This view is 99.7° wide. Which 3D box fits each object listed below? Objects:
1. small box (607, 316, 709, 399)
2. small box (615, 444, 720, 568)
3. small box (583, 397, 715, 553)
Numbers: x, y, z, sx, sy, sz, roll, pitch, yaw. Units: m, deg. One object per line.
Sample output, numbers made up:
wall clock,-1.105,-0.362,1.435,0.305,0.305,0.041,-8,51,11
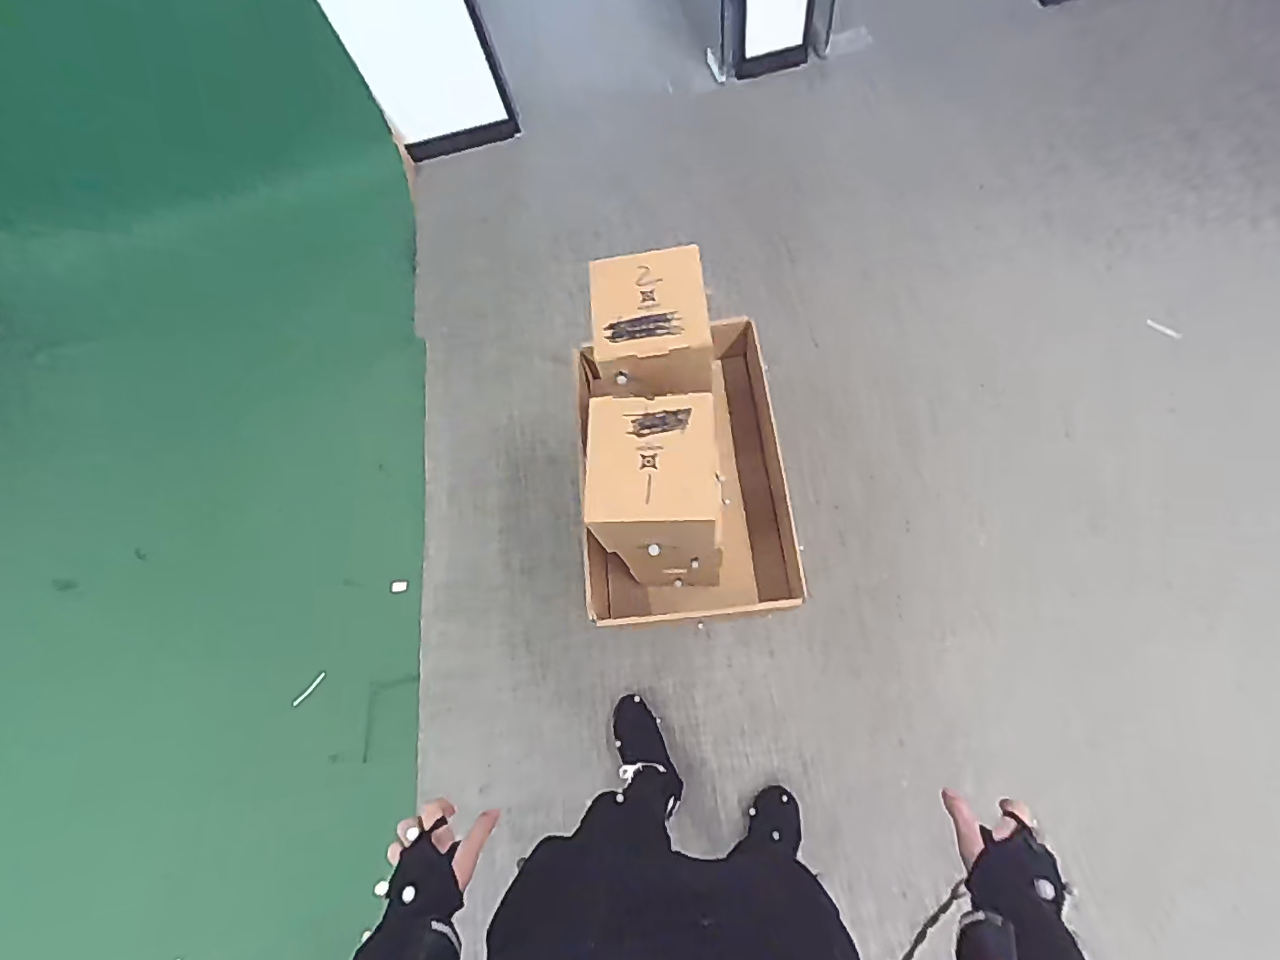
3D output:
small box,0.036,-0.175,1.010,0.168,0.176,0.179,-8,71,5
small box,0.051,0.052,0.920,0.168,0.176,0.179,-2,69,7
small box,0.020,-0.001,0.767,0.168,0.176,0.179,-1,70,7
